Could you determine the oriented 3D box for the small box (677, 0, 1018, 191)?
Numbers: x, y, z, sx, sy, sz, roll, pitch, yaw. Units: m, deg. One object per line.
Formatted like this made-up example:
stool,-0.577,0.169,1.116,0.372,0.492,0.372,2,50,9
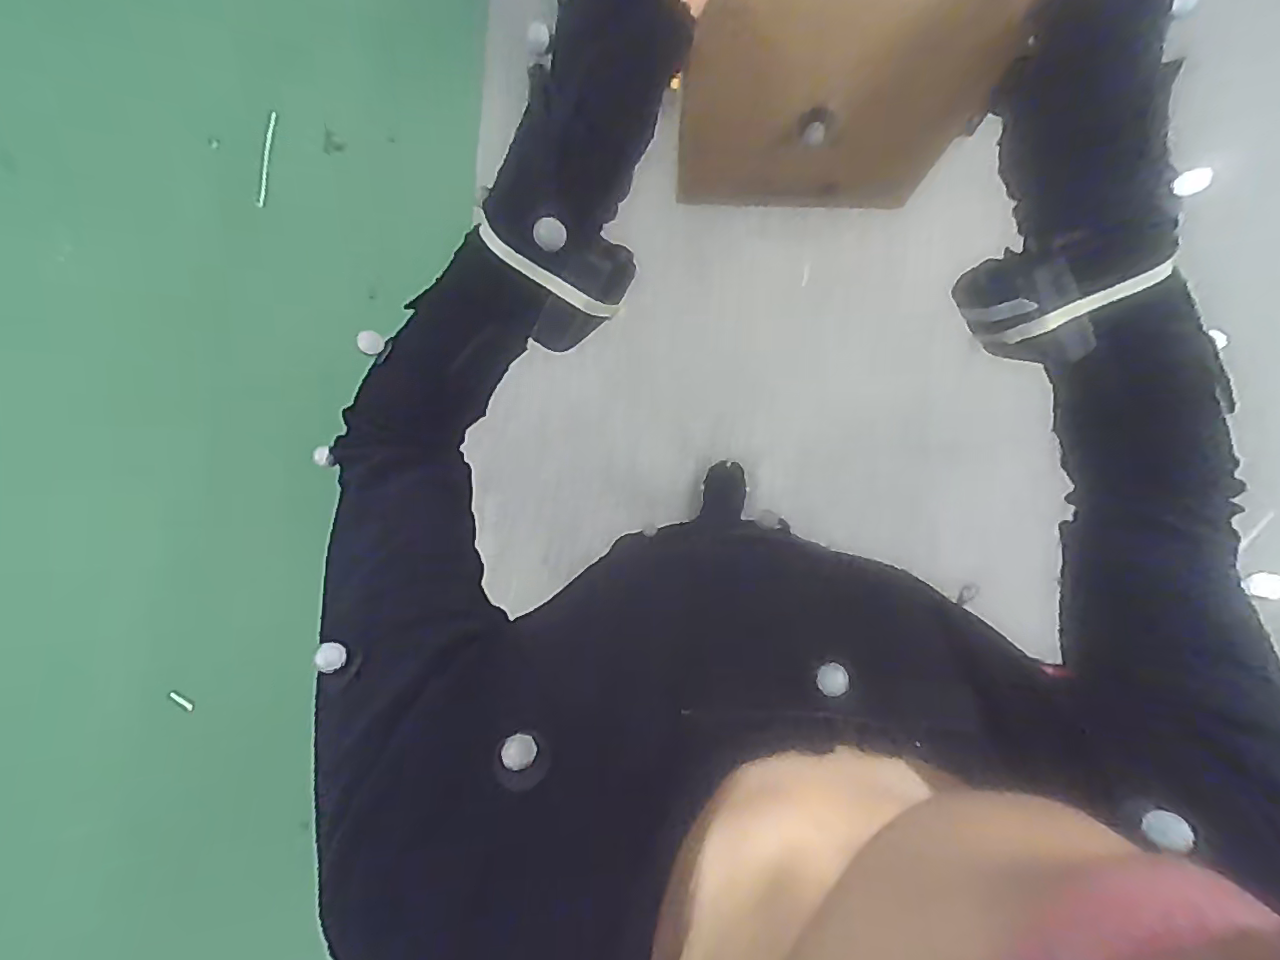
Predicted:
small box,0.111,-0.304,0.326,0.168,0.176,0.179,2,81,1
